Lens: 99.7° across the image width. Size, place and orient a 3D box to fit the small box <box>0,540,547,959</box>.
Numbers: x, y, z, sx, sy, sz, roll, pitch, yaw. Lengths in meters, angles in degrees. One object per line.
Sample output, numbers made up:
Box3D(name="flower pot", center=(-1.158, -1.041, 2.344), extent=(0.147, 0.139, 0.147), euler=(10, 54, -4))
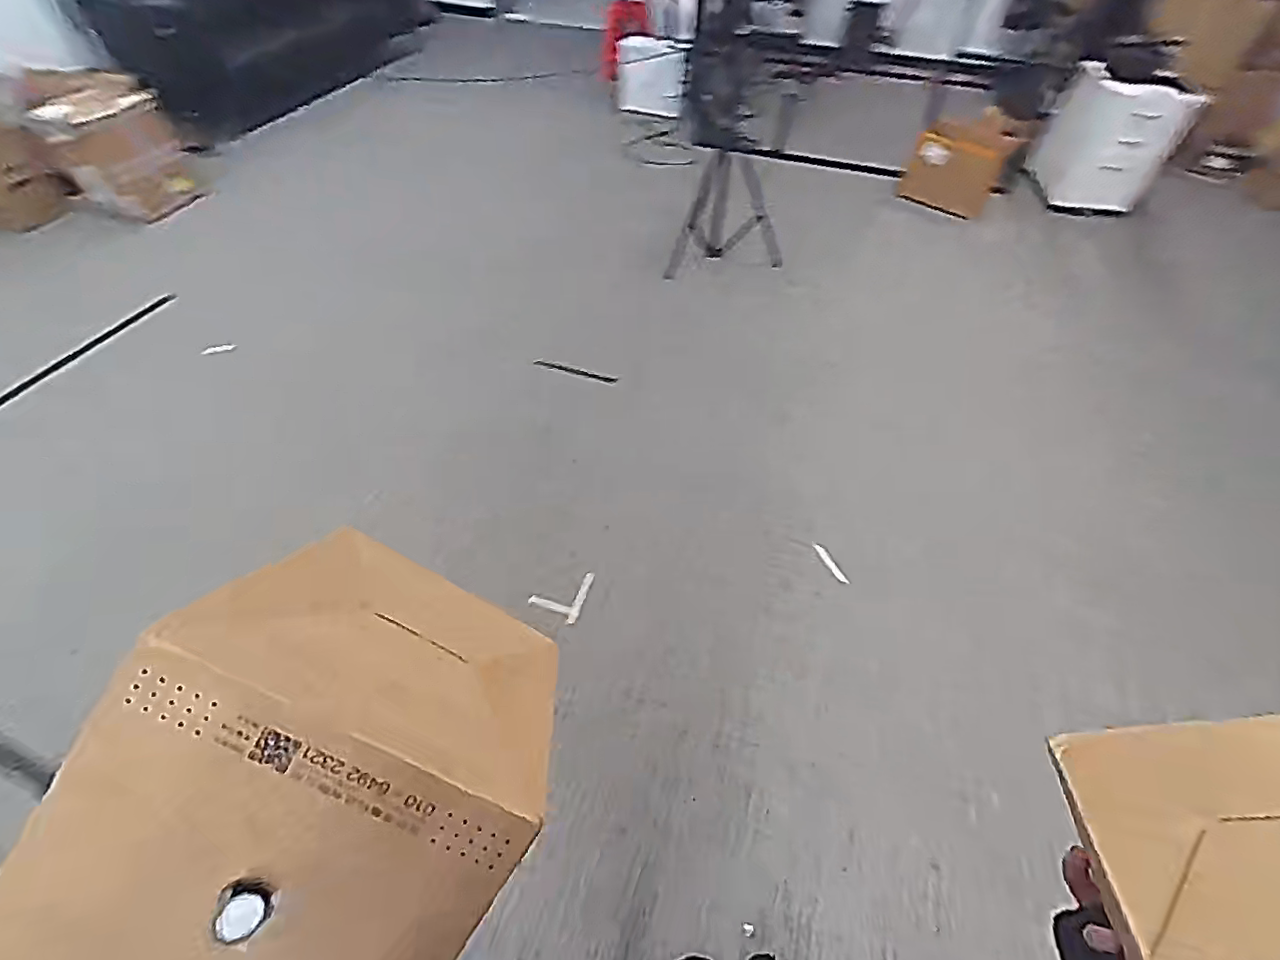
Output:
Box3D(name="small box", center=(-0.161, 0.149, 0.280), extent=(0.168, 0.179, 0.176), euler=(31, 91, -9))

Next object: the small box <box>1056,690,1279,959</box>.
Box3D(name="small box", center=(0.322, 0.215, 0.239), extent=(0.168, 0.179, 0.176), euler=(-19, 90, 27))
